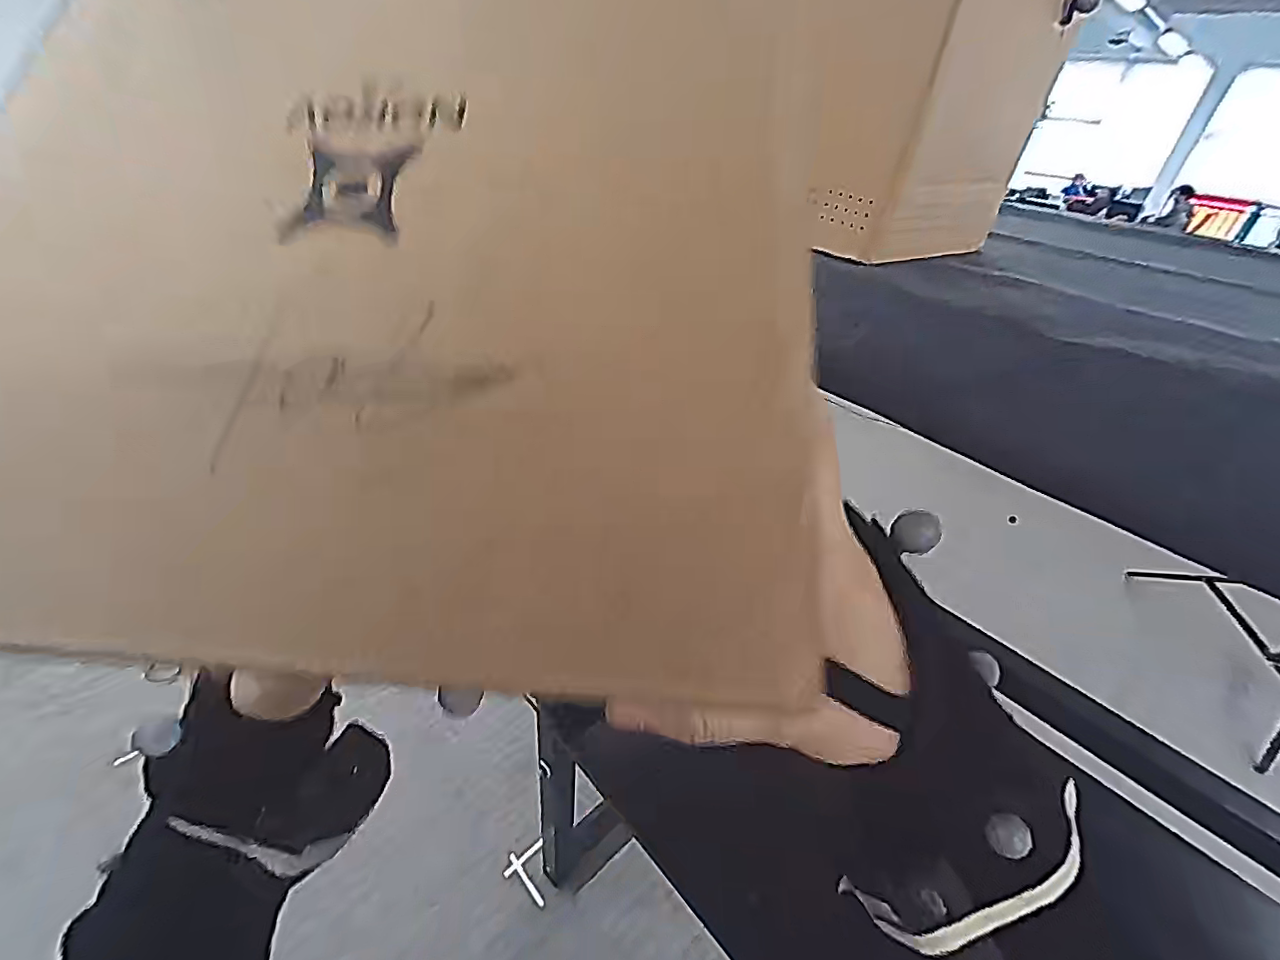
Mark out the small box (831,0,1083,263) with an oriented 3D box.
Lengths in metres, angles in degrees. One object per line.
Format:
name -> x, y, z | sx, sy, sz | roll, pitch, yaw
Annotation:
small box -> 0.140, -0.244, 0.341 | 0.179, 0.176, 0.168 | -22, 45, -38

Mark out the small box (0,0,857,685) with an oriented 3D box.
small box -> -0.041, -0.036, 0.176 | 0.168, 0.176, 0.179 | 2, 73, 6
